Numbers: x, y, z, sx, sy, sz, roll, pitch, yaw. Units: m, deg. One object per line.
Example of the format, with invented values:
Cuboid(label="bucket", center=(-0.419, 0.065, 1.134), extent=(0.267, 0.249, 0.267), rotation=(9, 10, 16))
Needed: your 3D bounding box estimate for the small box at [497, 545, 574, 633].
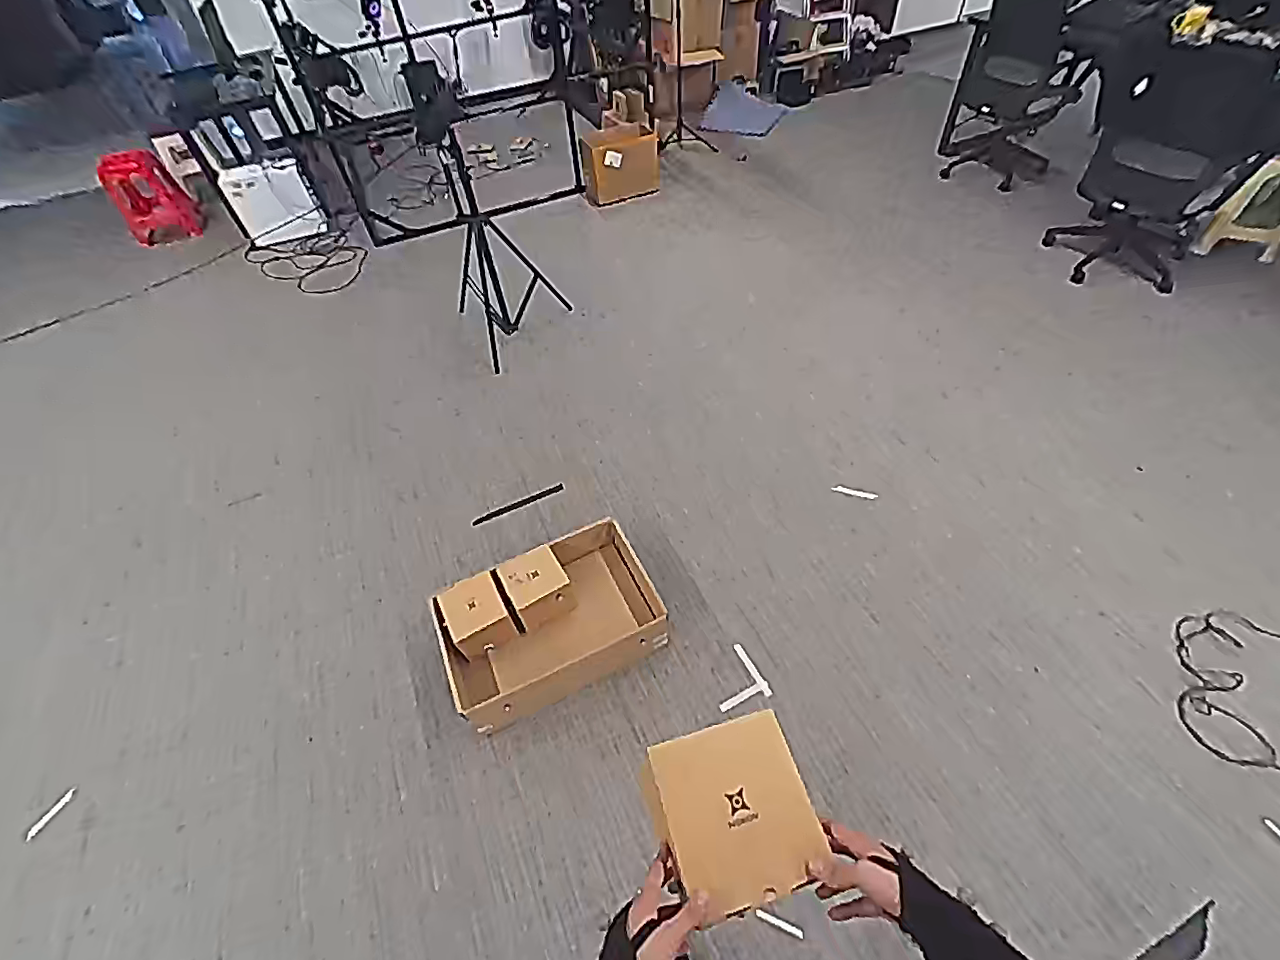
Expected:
Cuboid(label="small box", center=(-0.315, 0.339, 1.667), extent=(0.179, 0.176, 0.168), rotation=(-27, 54, -17))

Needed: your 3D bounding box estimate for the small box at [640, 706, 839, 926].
Cuboid(label="small box", center=(0.103, 0.406, 0.661), extent=(0.168, 0.176, 0.179), rotation=(-13, 56, -13))
